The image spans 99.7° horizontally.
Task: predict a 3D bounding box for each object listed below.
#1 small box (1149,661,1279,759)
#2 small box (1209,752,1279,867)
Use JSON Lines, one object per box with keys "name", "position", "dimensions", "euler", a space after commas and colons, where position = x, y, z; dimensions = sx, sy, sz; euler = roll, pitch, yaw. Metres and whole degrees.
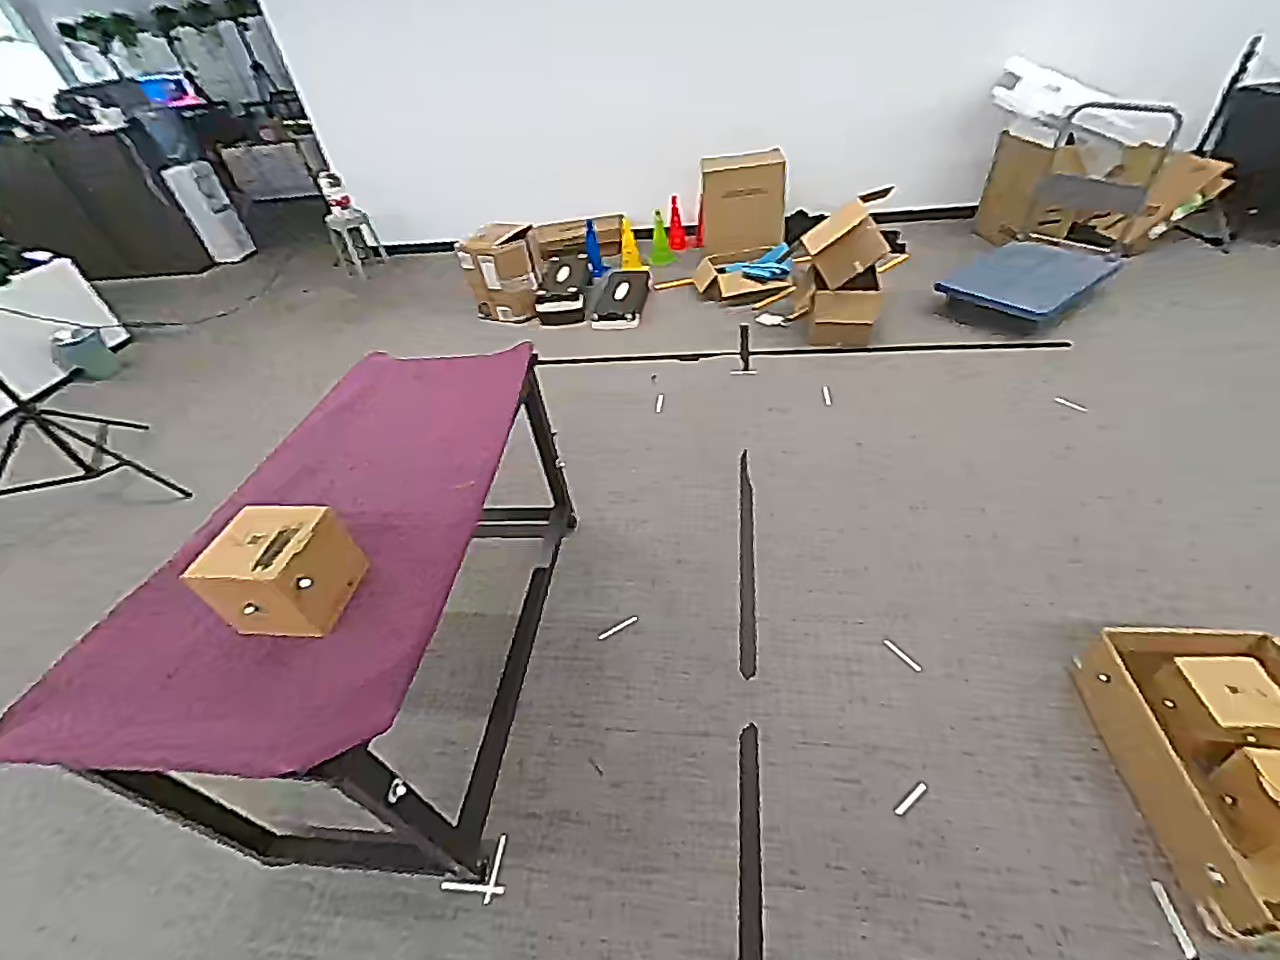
{"name": "small box", "position": [1.370, 0.545, 1.279], "dimensions": [0.179, 0.176, 0.168], "euler": [-2, 44, 7]}
{"name": "small box", "position": [1.367, 0.693, 1.119], "dimensions": [0.179, 0.176, 0.168], "euler": [3, 42, 13]}
